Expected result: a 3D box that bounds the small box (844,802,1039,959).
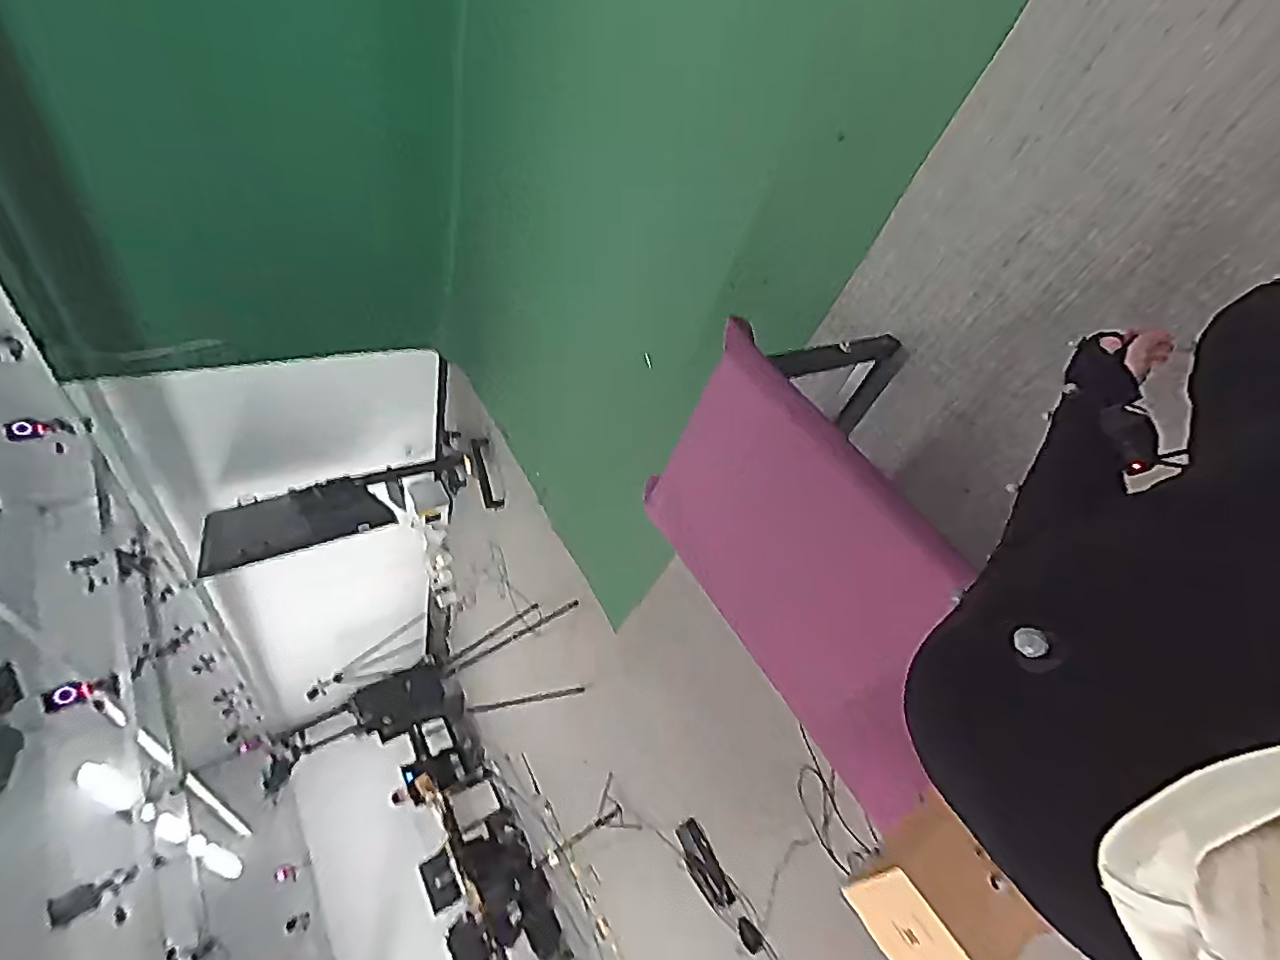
[{"bbox_3d":[0.466,0.645,0.841,0.168,0.176,0.179,51,140,28],"label":"small box"}]
